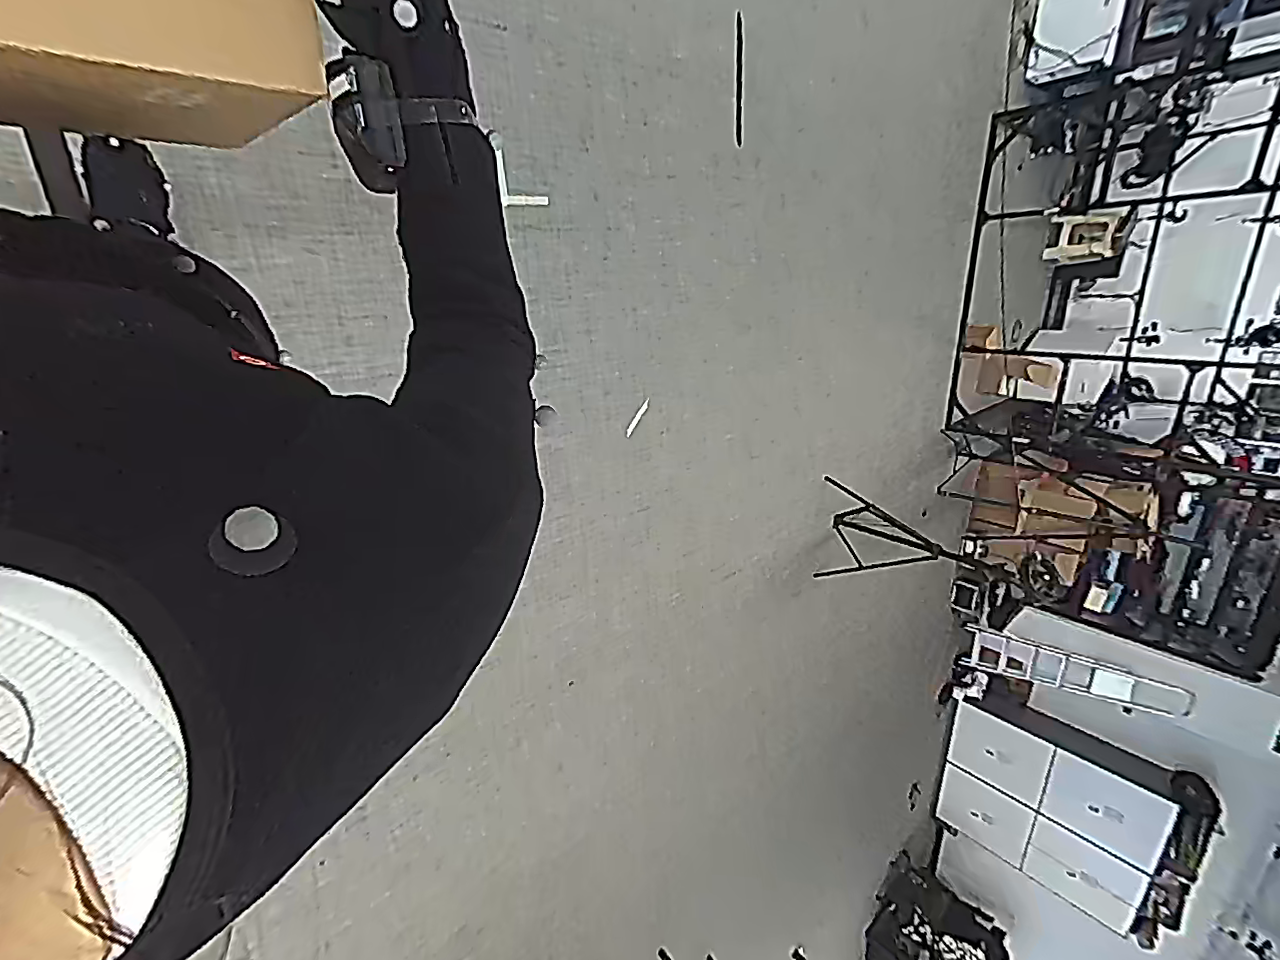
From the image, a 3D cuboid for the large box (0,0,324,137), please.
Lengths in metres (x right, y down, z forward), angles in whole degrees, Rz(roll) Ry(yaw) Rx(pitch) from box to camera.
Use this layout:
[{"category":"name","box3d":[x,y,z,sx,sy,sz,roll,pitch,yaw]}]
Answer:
[{"category":"large box","box3d":[-0.444,-0.375,0.254,0.408,0.320,0.320,-21,123,-39]}]
